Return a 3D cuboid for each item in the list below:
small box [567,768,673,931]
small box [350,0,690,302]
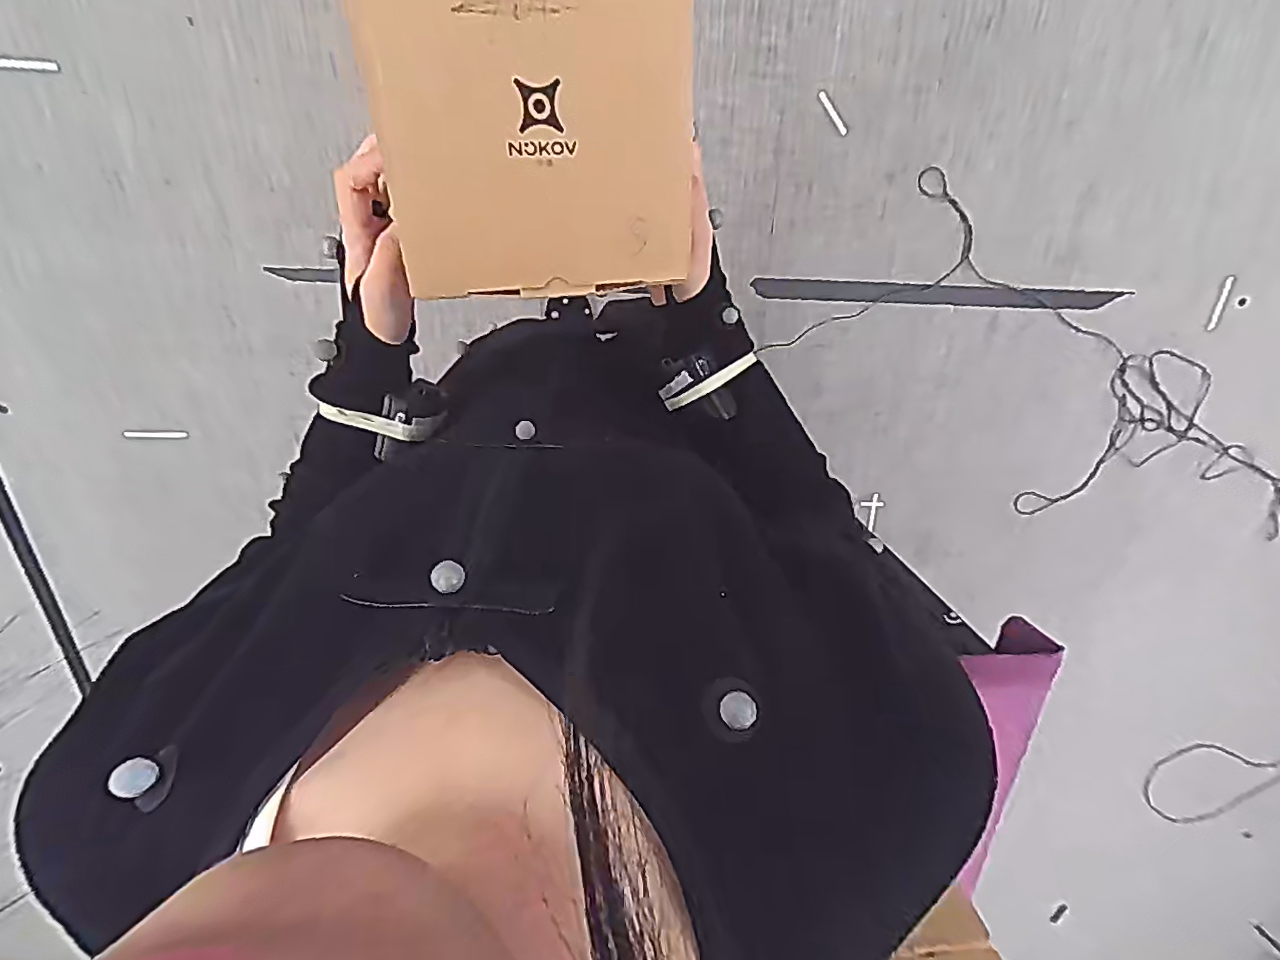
[{"bbox_3d":[-0.040,0.622,0.928,0.168,0.176,0.179,0,112,-4],"label":"small box"},{"bbox_3d":[-0.070,-0.224,0.354,0.168,0.176,0.179,-8,117,-11],"label":"small box"}]
